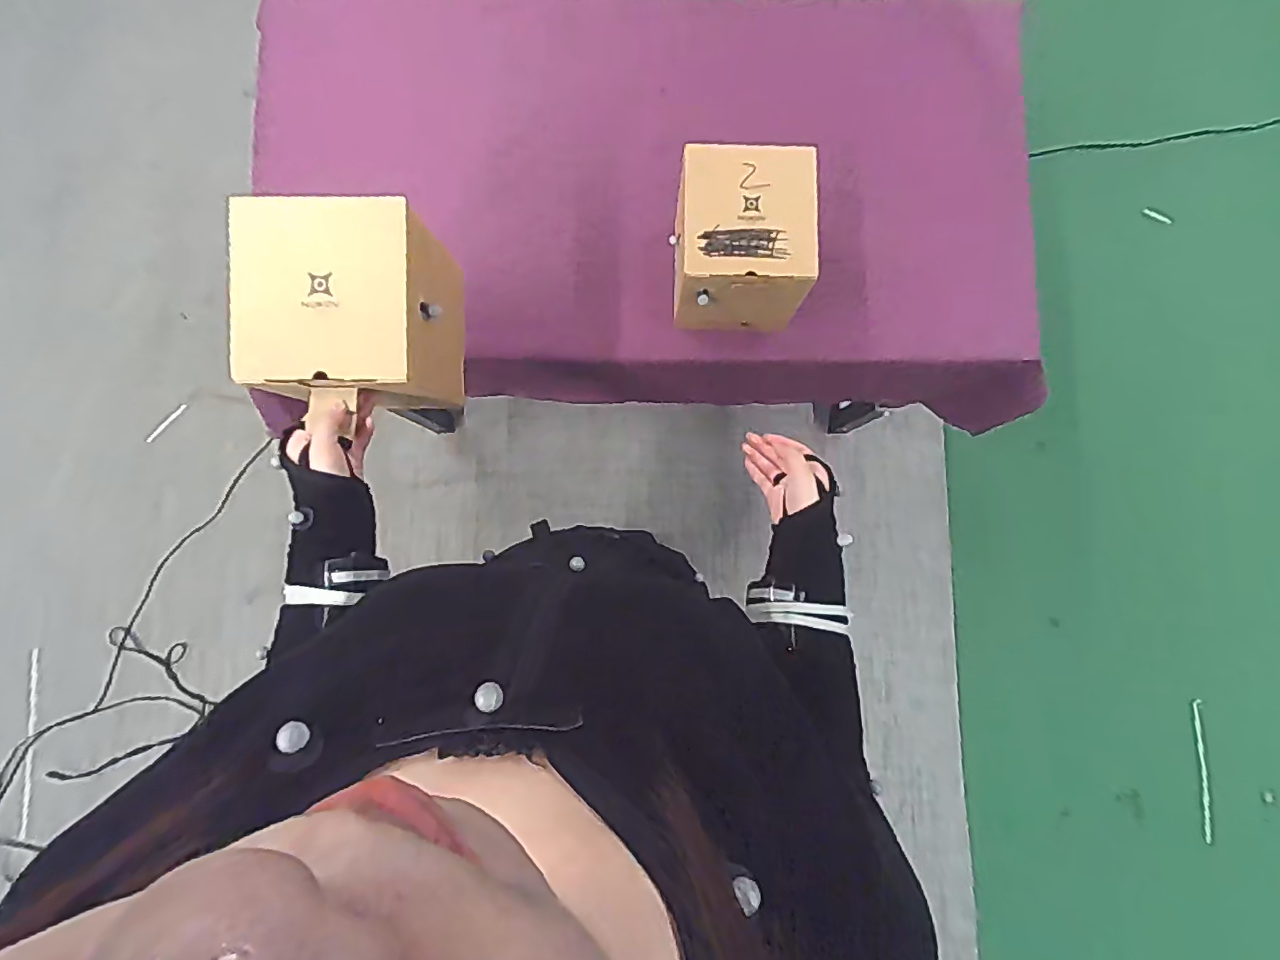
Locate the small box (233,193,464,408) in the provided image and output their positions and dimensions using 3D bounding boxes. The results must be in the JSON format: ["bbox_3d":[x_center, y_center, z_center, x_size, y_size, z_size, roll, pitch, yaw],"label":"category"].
[{"bbox_3d":[-0.296,-0.178,0.583,0.168,0.176,0.179,1,91,-2],"label":"small box"}]
